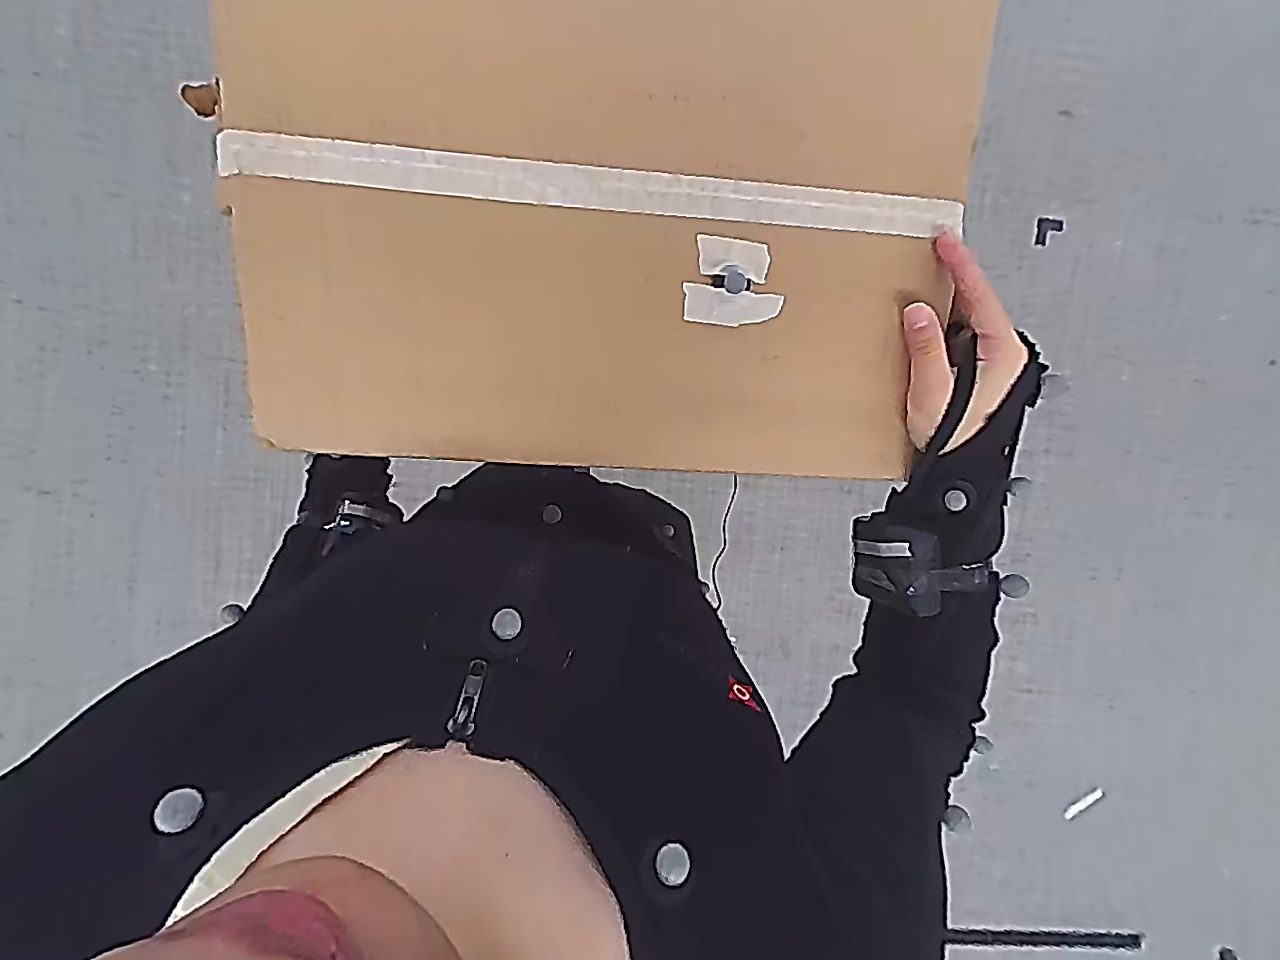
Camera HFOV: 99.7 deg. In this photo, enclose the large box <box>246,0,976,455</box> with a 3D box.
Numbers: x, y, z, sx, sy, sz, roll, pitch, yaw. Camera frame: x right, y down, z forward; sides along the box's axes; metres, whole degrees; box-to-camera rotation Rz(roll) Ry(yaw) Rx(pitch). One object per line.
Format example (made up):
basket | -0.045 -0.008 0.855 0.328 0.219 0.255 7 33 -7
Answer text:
large box | -0.026 -0.201 0.457 0.408 0.320 0.320 2 103 -7
